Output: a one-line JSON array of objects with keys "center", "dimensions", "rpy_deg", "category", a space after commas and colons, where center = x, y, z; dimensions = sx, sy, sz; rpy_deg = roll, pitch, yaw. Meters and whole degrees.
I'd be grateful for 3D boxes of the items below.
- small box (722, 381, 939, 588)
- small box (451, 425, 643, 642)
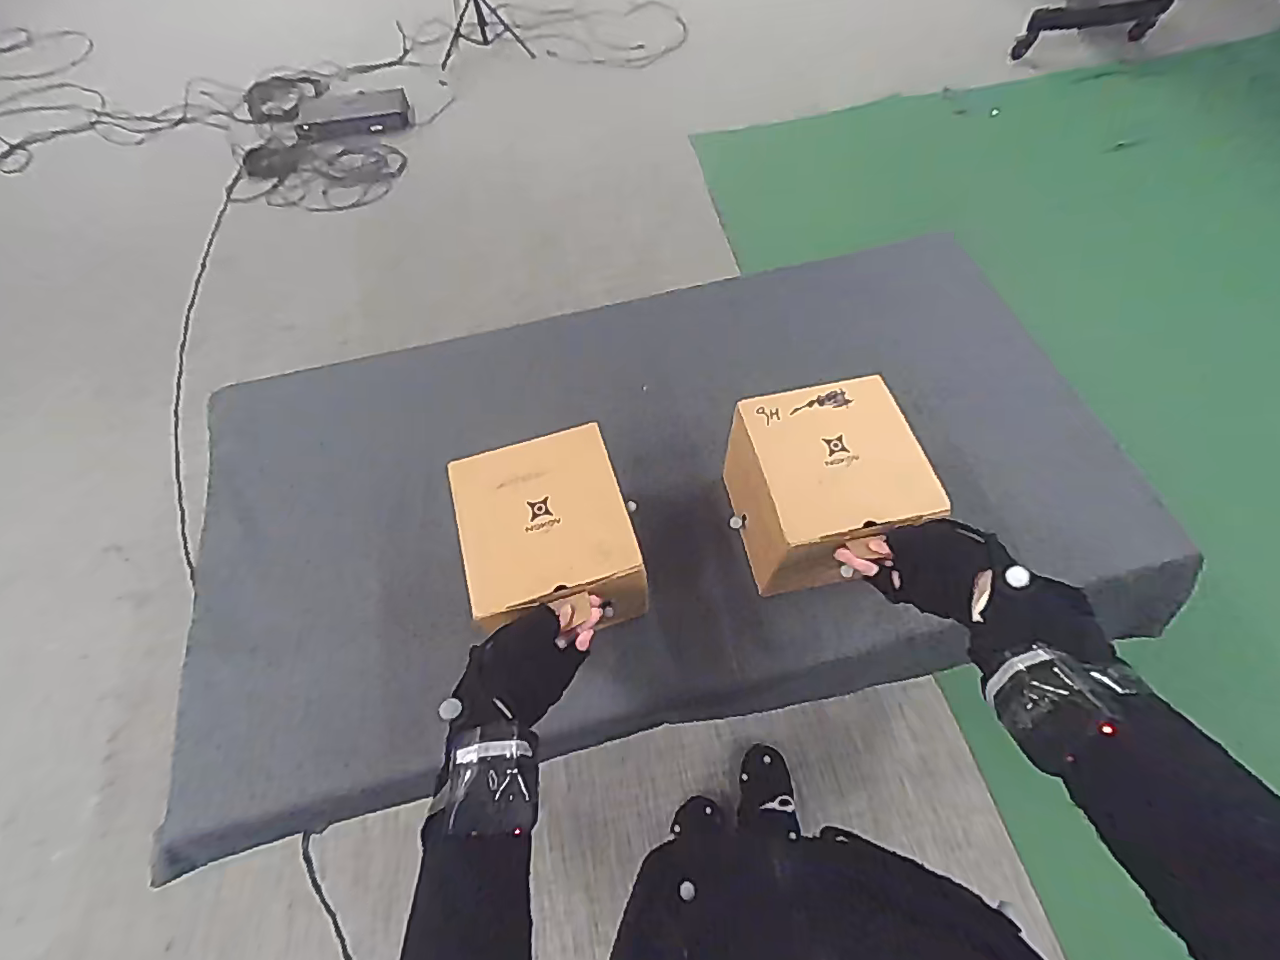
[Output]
[{"center": [0.201, 0.016, 0.631], "dimensions": [0.168, 0.176, 0.179], "rpy_deg": [-11, 62, -4], "category": "small box"}, {"center": [-0.097, 0.071, 0.615], "dimensions": [0.168, 0.176, 0.179], "rpy_deg": [-16, 61, -9], "category": "small box"}]
